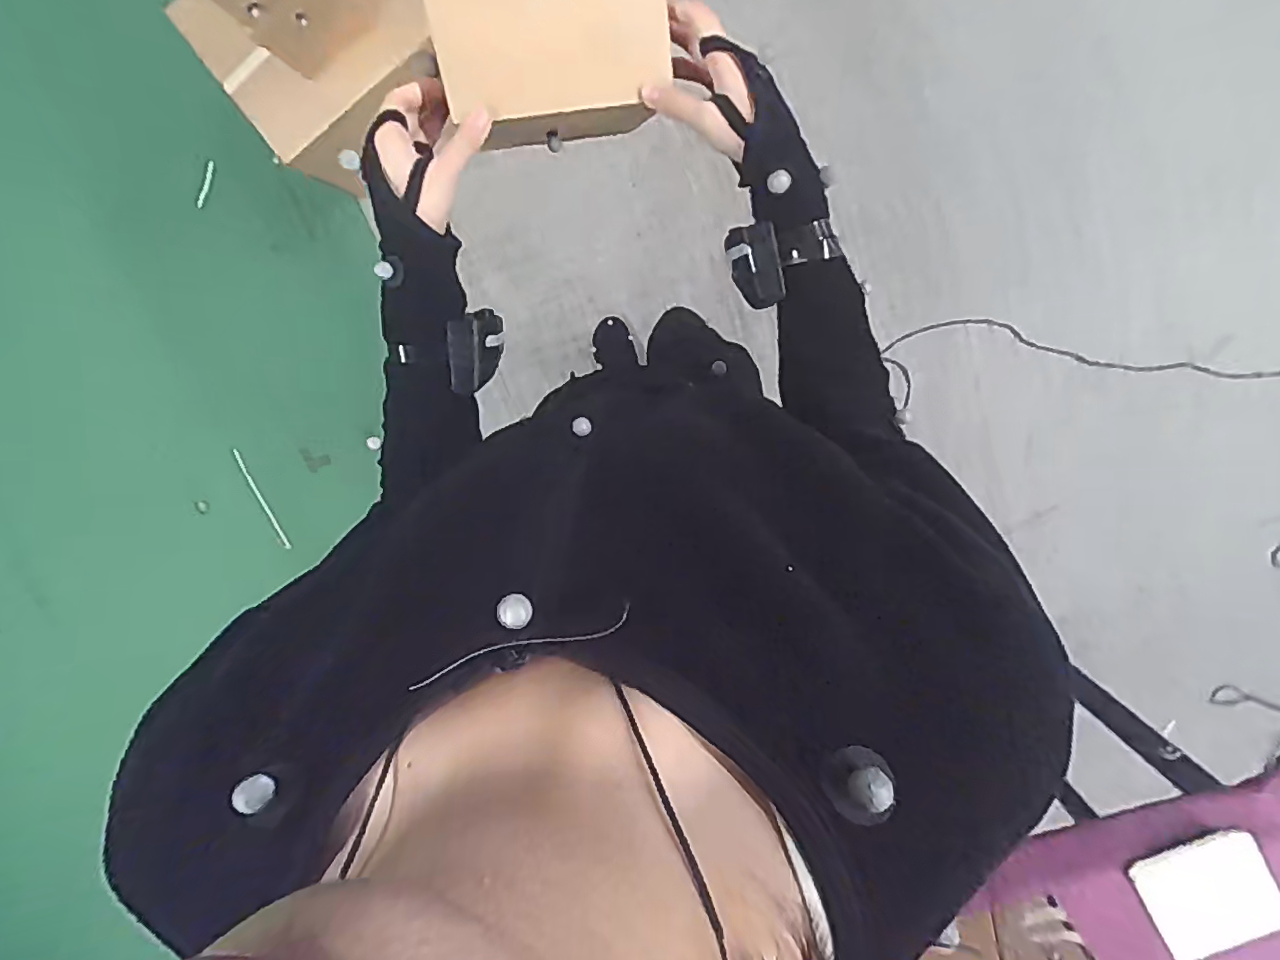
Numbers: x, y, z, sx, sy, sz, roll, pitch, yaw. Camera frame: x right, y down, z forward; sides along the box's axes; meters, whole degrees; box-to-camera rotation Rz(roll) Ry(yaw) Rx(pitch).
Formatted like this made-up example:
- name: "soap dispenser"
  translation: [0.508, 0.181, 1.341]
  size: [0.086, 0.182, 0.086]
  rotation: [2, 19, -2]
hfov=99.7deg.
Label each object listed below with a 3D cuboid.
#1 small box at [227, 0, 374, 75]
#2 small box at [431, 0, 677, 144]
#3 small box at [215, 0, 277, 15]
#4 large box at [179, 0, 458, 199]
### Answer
- name: "small box"
  translation: [-0.588, -0.829, 0.898]
  size: [0.179, 0.176, 0.168]
  rotation: [-30, 104, 9]
- name: "small box"
  translation: [-0.075, -0.378, 0.427]
  size: [0.168, 0.176, 0.179]
  rotation: [-11, 116, -8]
- name: "small box"
  translation: [-0.584, -0.793, 0.738]
  size: [0.168, 0.176, 0.179]
  rotation: [-29, 104, 8]
- name: "large box"
  translation: [-0.606, -0.880, 1.138]
  size: [0.408, 0.320, 0.320]
  rotation: [-34, 101, 11]
